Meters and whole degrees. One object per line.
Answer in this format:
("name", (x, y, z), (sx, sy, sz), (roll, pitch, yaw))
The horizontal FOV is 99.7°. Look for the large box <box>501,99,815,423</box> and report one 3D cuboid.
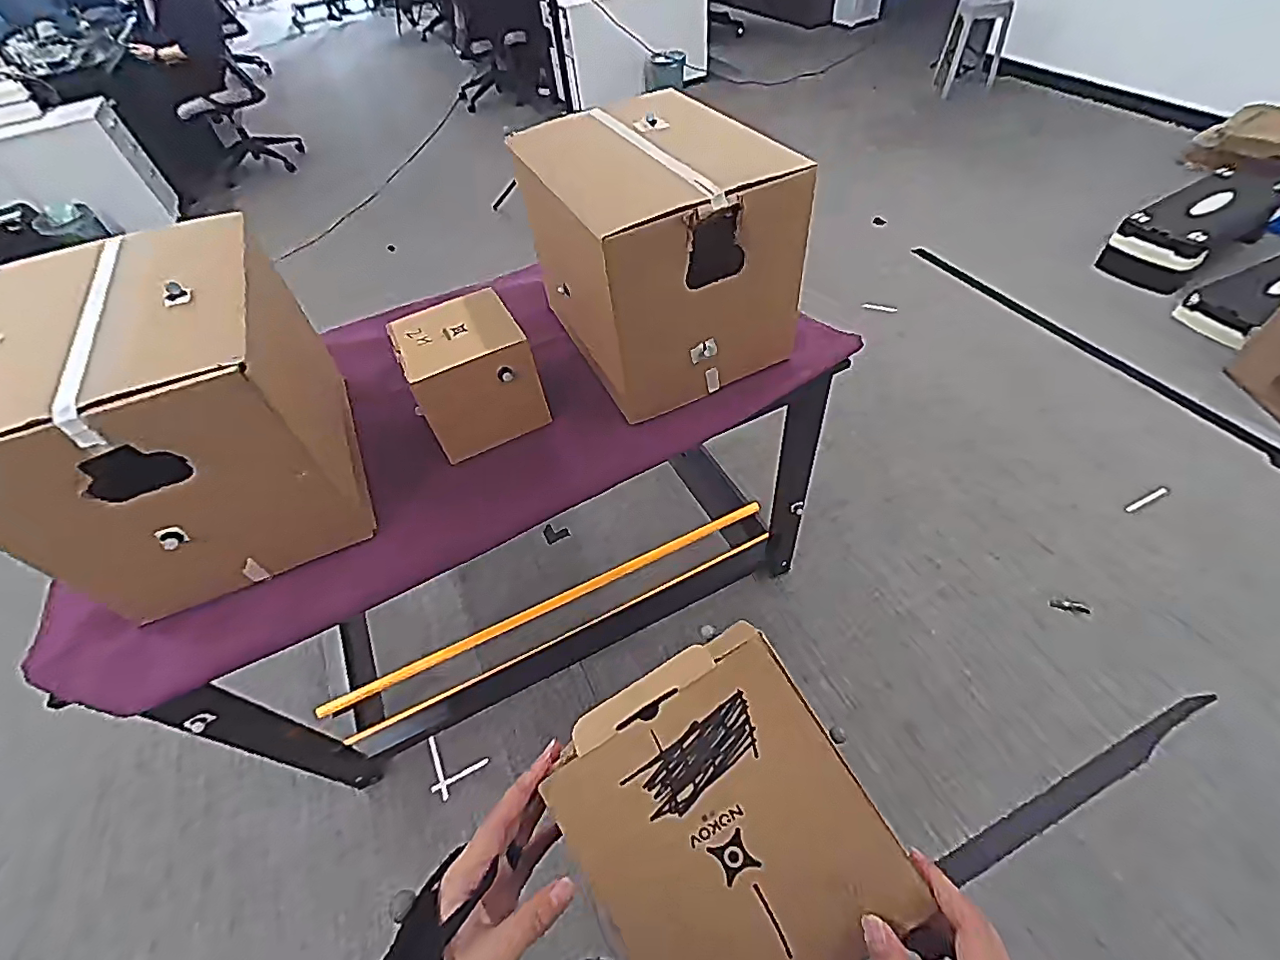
("large box", (0.020, -0.365, 0.886), (0.320, 0.320, 0.408), (-24, 51, -13))
